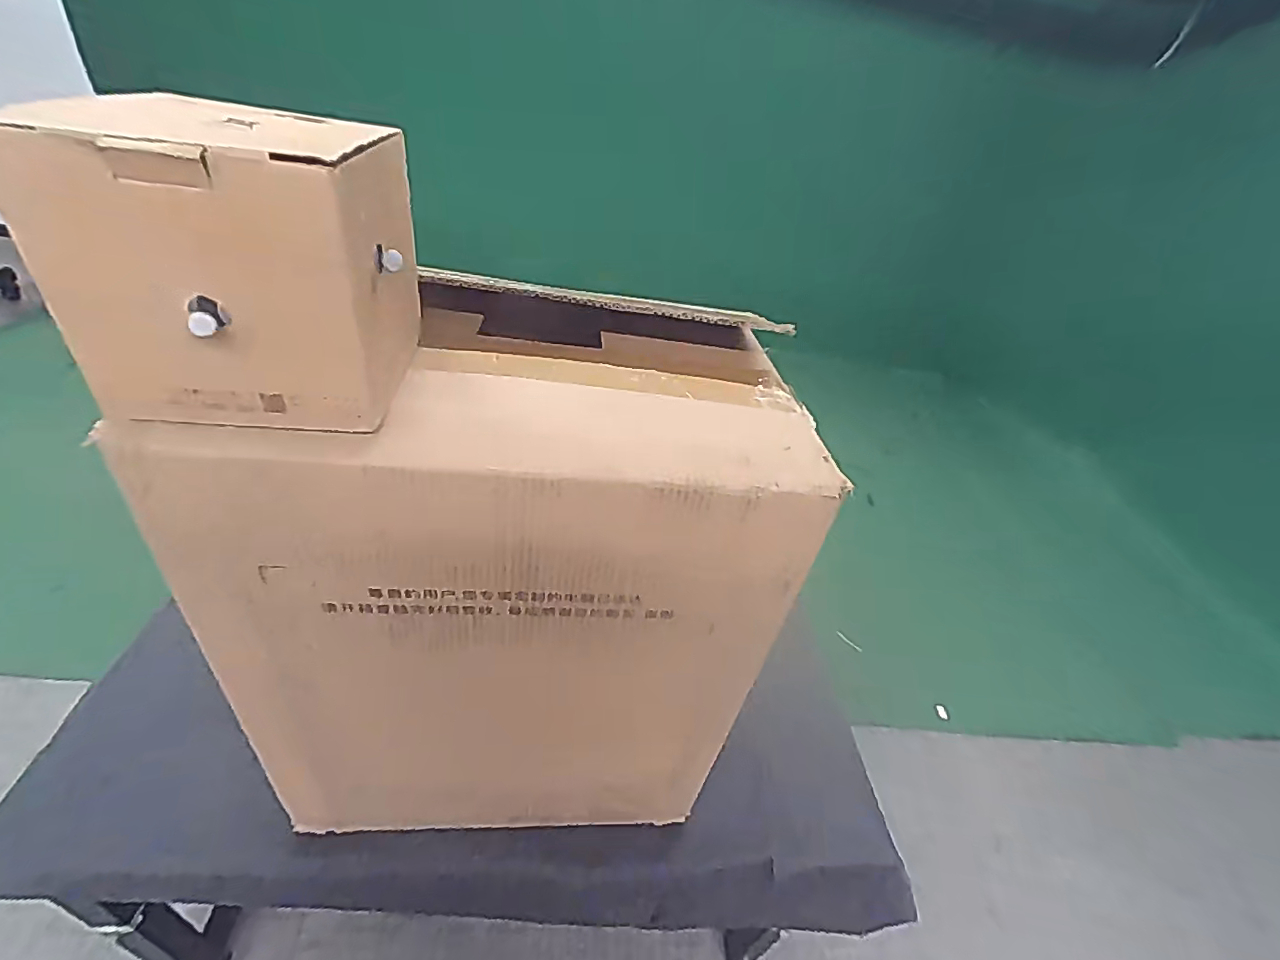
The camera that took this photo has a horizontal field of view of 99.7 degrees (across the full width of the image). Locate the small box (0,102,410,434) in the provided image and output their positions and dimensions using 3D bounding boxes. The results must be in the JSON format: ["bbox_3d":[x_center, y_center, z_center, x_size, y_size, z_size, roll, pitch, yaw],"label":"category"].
[{"bbox_3d":[-0.271,-0.146,0.379,0.168,0.176,0.179,2,38,-10],"label":"small box"}]
